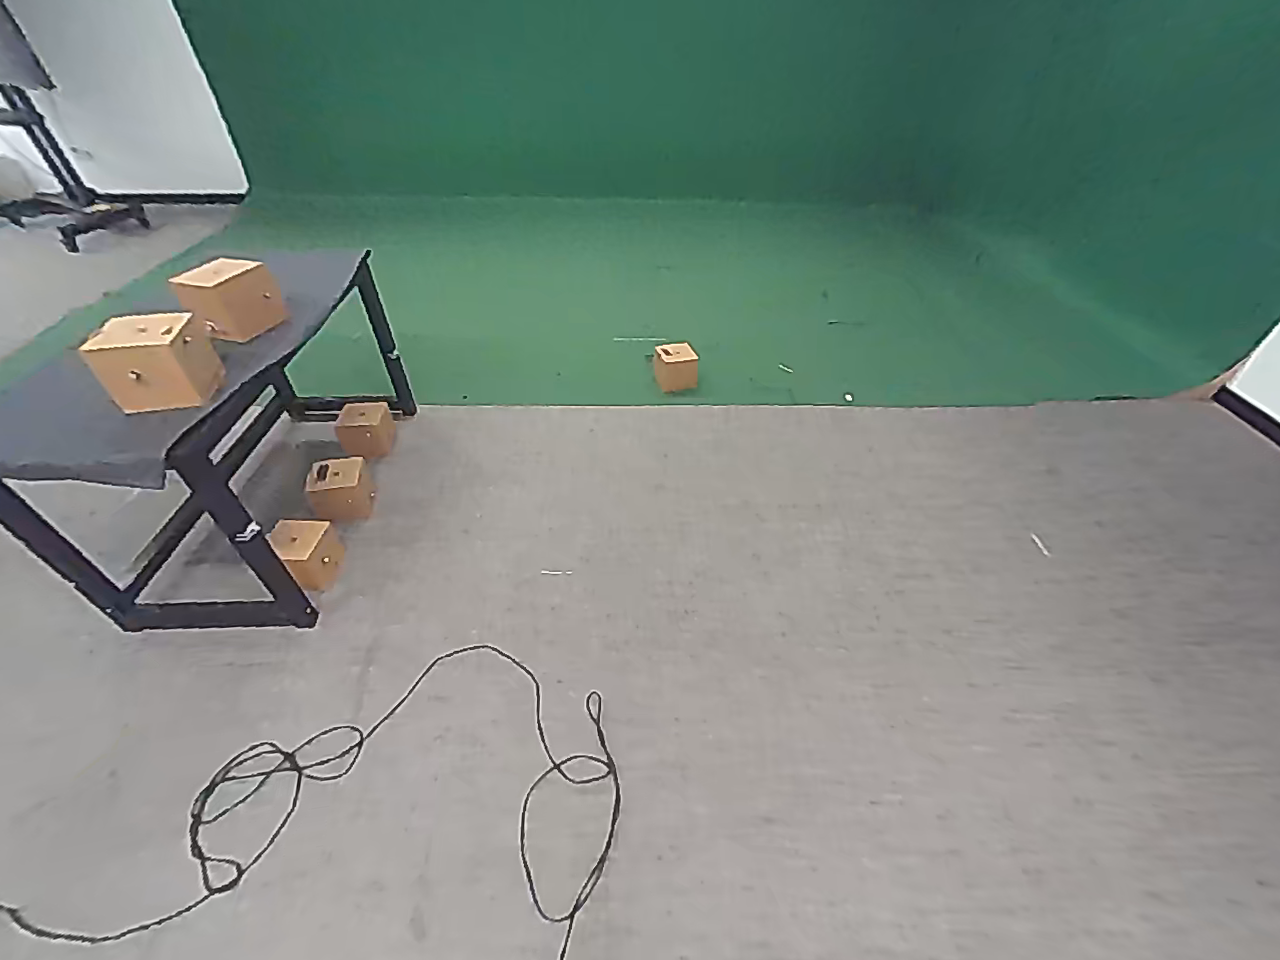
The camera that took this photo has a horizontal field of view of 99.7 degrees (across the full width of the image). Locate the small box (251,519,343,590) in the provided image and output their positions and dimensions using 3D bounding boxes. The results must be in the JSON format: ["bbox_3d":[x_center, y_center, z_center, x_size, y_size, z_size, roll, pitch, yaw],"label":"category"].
[{"bbox_3d":[-1.126,0.250,1.797,0.179,0.176,0.168,3,43,2],"label":"small box"}]

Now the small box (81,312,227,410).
[{"bbox_3d":[-1.148,-0.283,1.294,0.179,0.176,0.168,-9,44,-11],"label":"small box"}]

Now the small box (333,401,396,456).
[{"bbox_3d":[-1.160,-0.216,2.291,0.179,0.176,0.168,-3,43,-5],"label":"small box"}]

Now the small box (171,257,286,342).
[{"bbox_3d":[-1.162,-0.519,1.550,0.168,0.176,0.179,11,45,15],"label":"small box"}]

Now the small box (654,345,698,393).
[{"bbox_3d":[0.173,-0.551,2.696,0.179,0.176,0.168,-10,44,-14],"label":"small box"}]
